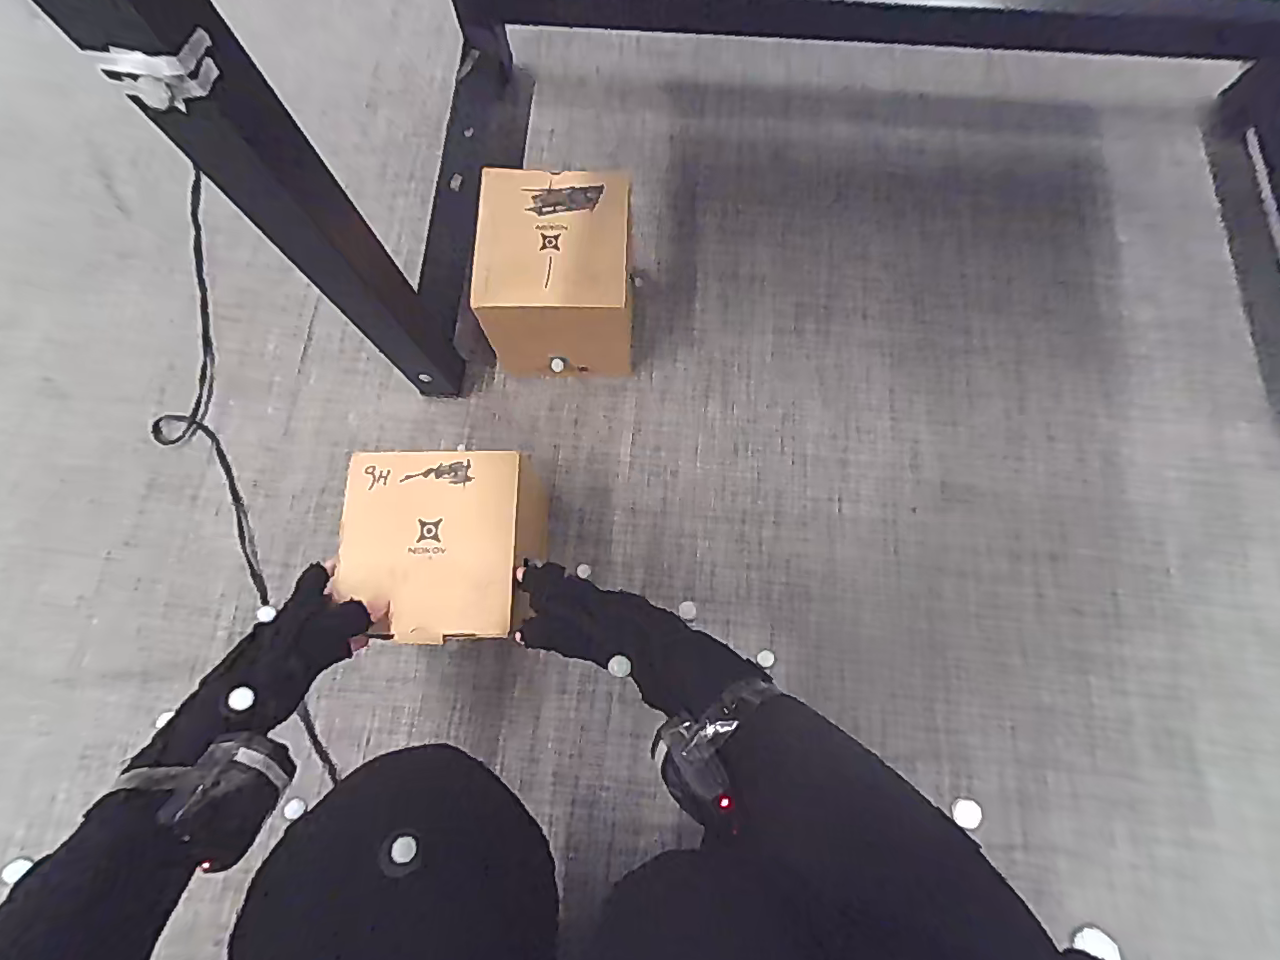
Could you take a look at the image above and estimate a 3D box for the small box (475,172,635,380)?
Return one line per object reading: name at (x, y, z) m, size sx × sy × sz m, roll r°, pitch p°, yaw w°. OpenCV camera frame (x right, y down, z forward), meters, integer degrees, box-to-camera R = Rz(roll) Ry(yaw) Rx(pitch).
small box at (-0.091, -0.242, 0.666) m, size 0.168 × 0.176 × 0.179 m, roll 1°, pitch 75°, yaw 1°
